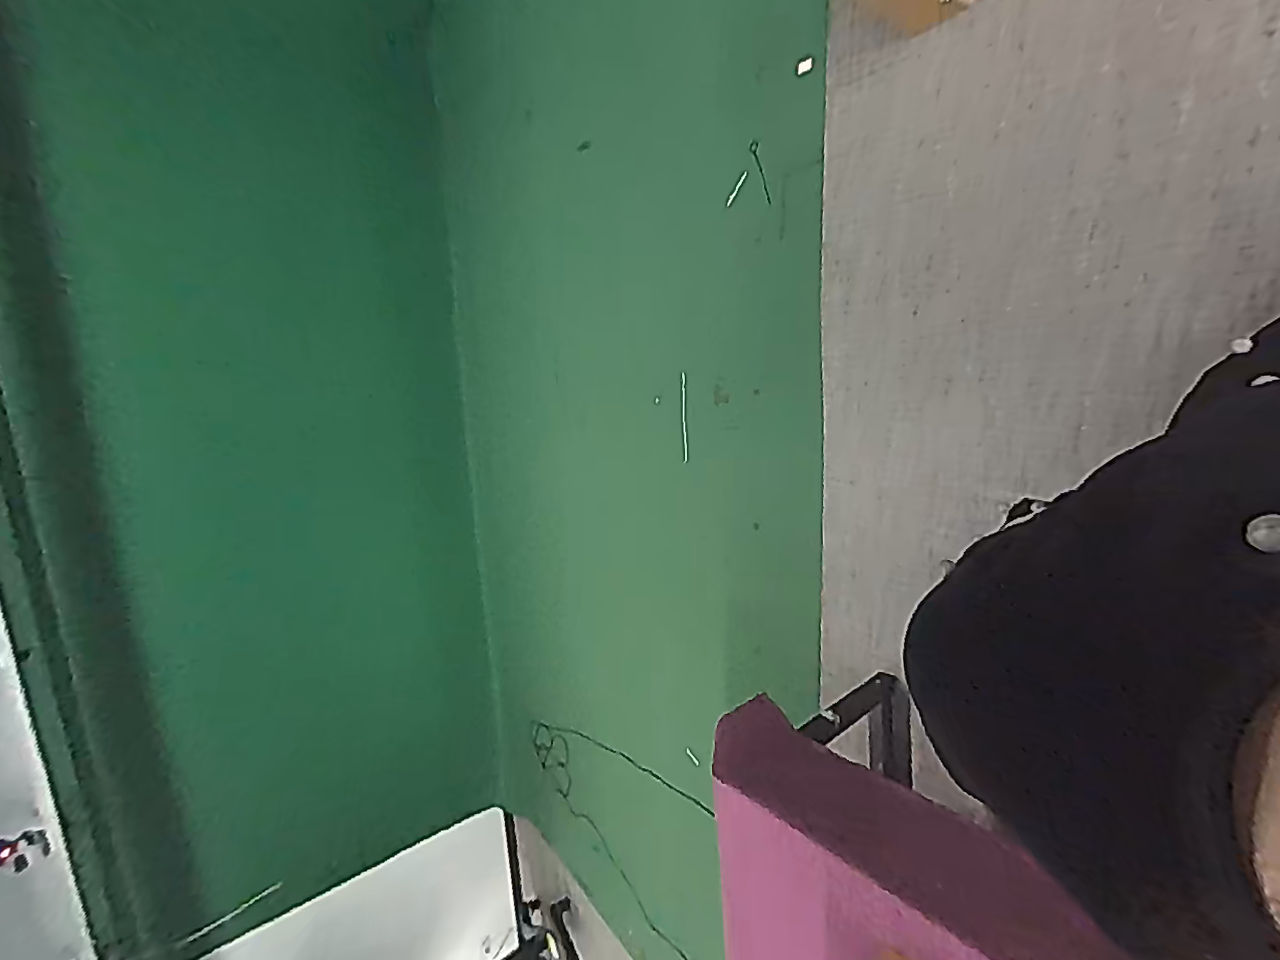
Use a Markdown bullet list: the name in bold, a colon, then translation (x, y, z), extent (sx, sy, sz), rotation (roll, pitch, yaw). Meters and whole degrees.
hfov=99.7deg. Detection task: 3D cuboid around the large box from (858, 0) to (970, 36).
- **large box**: translation (0.642, -1.282, 1.134), extent (0.320, 0.320, 0.408), rotation (8, 103, 52)
